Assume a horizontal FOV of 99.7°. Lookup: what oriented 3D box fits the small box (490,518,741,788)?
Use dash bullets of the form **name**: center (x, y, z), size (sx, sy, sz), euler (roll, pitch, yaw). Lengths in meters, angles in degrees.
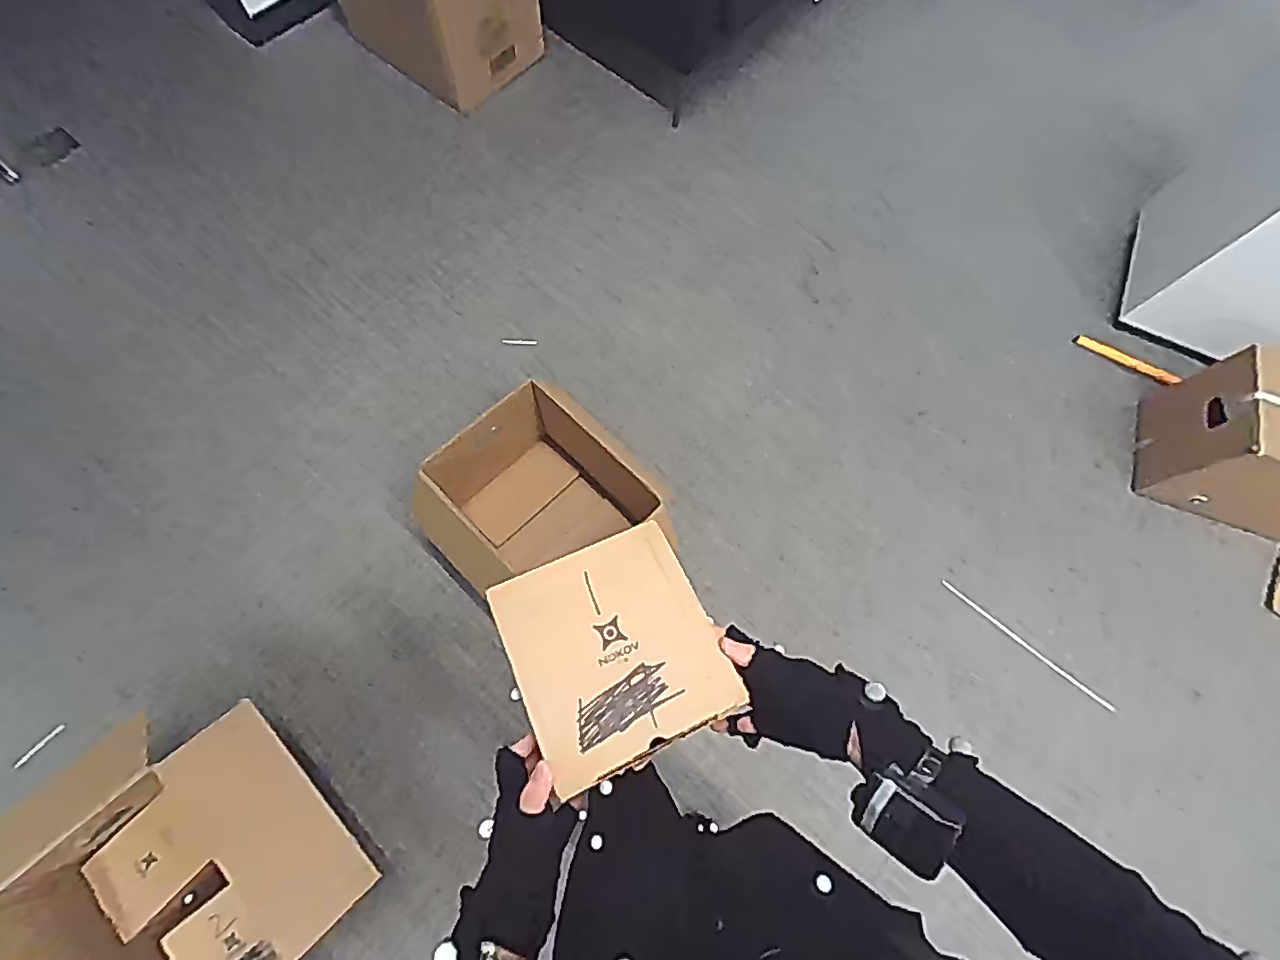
- **small box**: center (-0.025, 0.170, 0.526), size (0.168, 0.176, 0.179), euler (-22, 64, -13)
